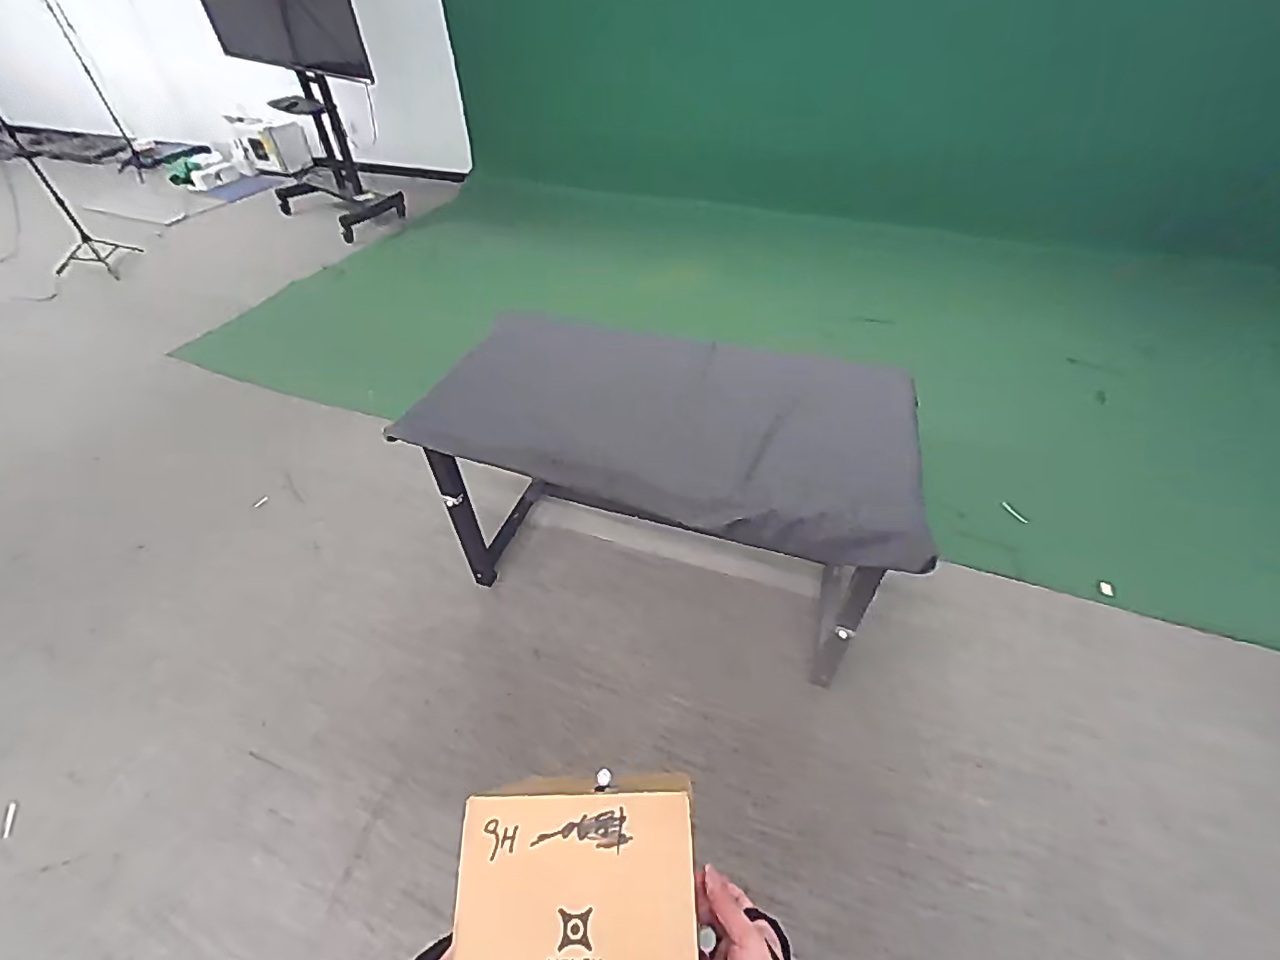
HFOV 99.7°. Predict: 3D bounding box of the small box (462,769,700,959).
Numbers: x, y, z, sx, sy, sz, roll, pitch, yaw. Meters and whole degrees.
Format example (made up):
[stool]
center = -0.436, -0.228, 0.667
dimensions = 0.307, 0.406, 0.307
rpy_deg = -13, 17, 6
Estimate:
[small box]
center = -0.035, 0.345, 0.443
dimensions = 0.168, 0.176, 0.179
rpy_deg = -3, 67, 2
